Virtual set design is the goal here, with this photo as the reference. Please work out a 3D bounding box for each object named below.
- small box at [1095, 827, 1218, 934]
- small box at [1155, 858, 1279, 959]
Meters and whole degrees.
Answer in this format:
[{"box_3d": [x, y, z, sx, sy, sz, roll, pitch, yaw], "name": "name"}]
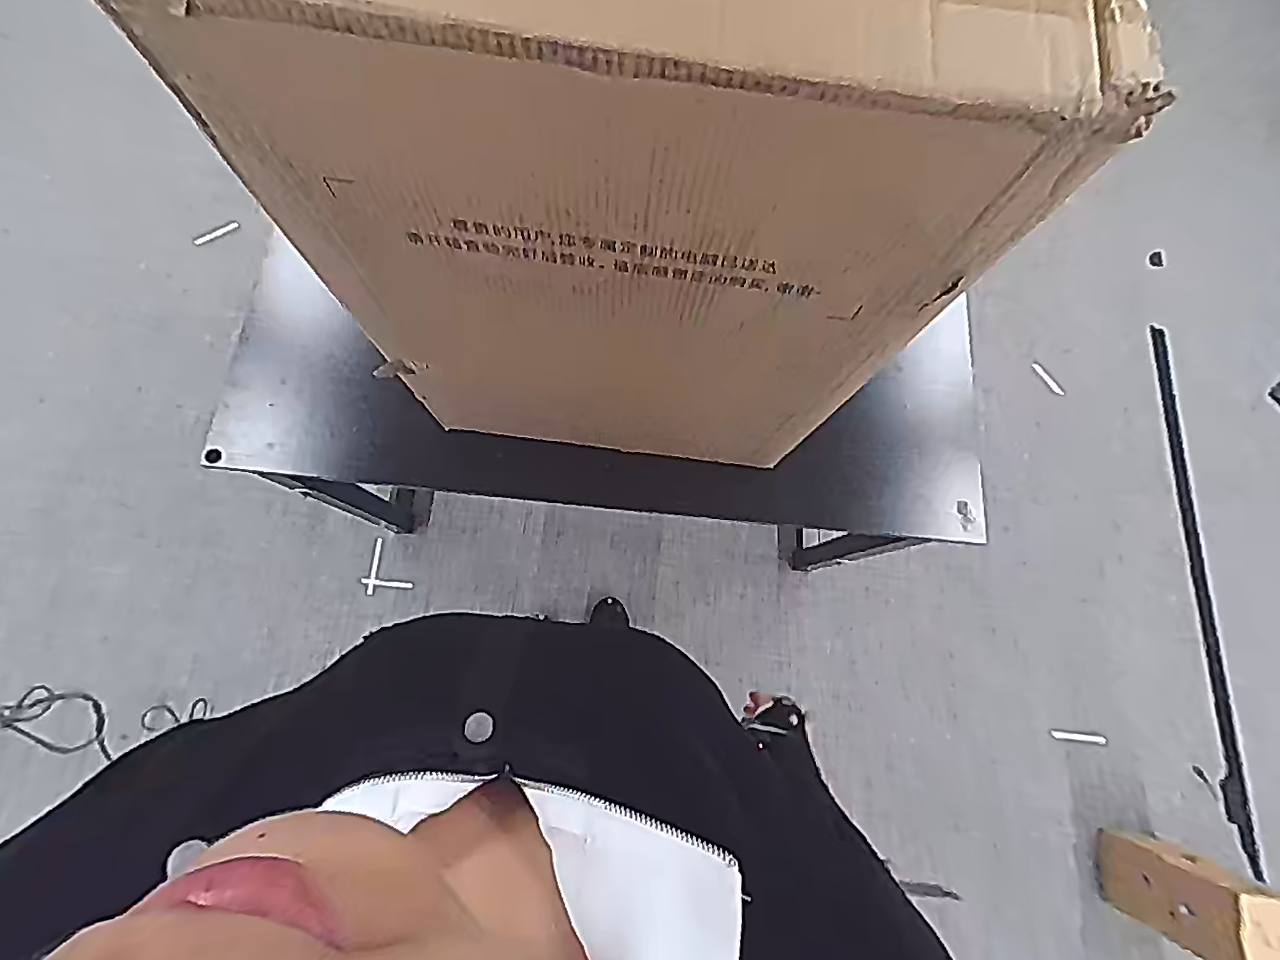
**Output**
[{"box_3d": [1.287, 1.001, 1.352, 0.168, 0.176, 0.179, 10, 76, -1], "name": "small box"}, {"box_3d": [1.303, 0.968, 1.191, 0.179, 0.176, 0.168, 10, 75, -1], "name": "small box"}]
